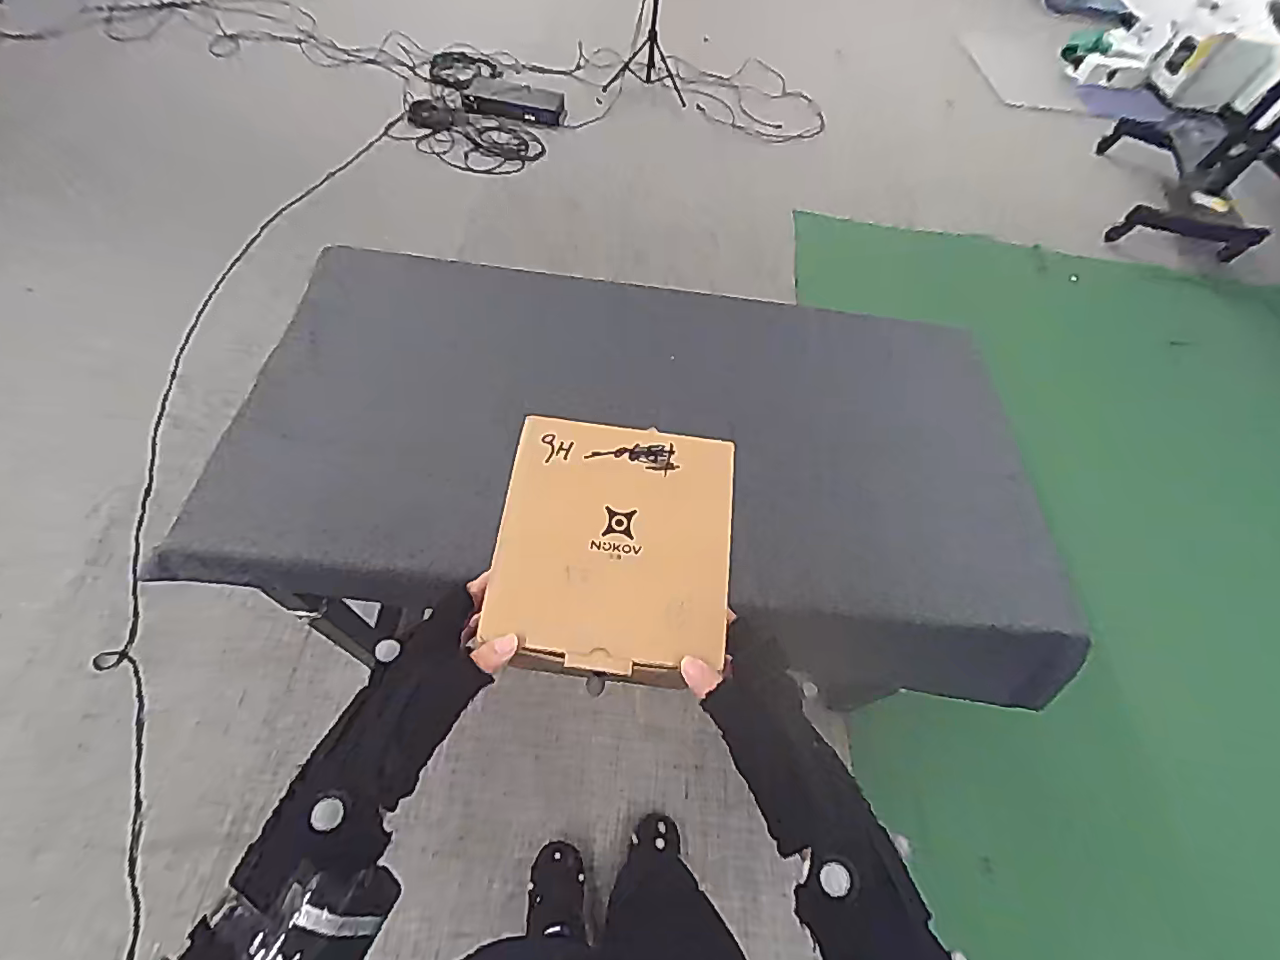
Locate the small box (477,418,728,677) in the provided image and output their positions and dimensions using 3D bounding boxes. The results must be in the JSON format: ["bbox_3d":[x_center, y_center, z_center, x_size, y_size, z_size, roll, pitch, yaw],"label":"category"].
[{"bbox_3d":[-0.024,0.069,0.464,0.168,0.176,0.179,6,67,-1],"label":"small box"}]
